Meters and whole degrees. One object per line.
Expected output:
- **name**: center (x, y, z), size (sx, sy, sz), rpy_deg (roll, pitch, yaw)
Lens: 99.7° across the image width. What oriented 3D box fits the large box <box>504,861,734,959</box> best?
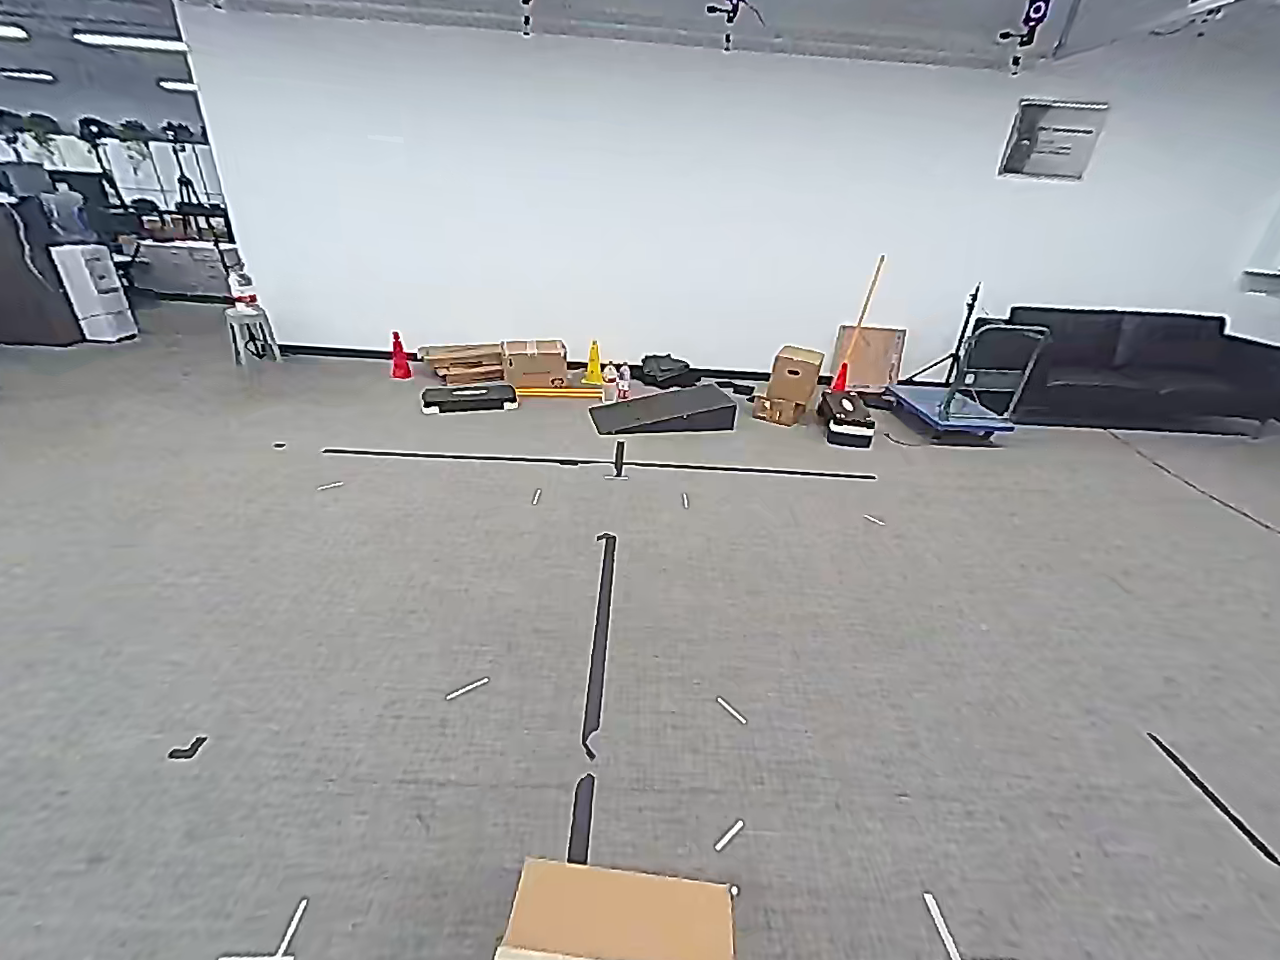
- **large box**: center (-0.049, 0.964, 0.981), size (0.408, 0.320, 0.320), rpy_deg (7, 28, 2)
